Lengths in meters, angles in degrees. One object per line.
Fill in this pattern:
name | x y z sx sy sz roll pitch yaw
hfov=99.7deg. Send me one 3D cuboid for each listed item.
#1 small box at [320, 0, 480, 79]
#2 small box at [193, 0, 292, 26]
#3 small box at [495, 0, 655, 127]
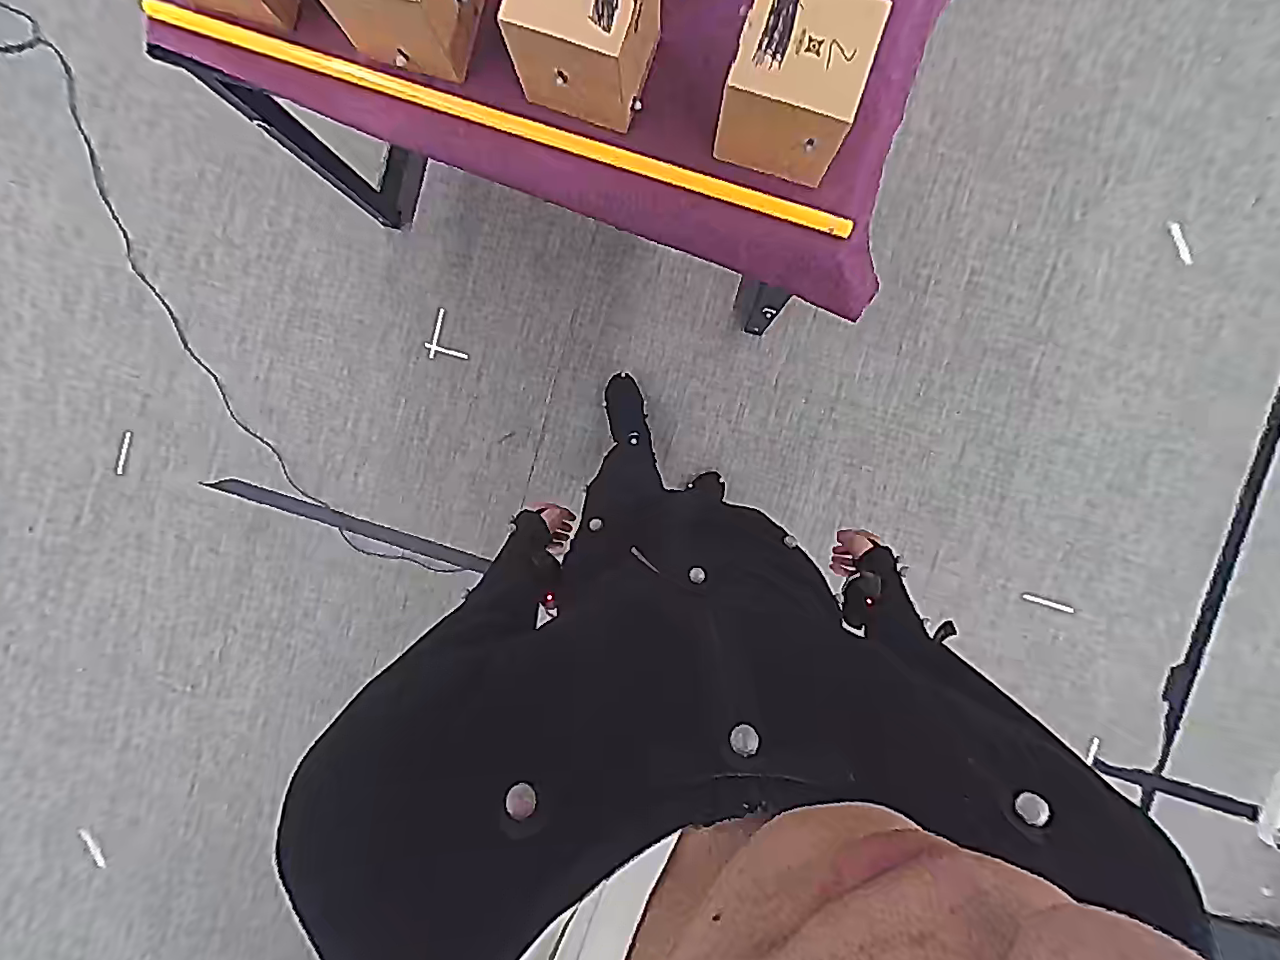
small box | -0.356 -0.745 0.801 0.179 0.176 0.168 16 94 1
small box | -0.637 -0.835 0.806 0.179 0.176 0.168 17 93 -1
small box | -0.083 -0.663 0.793 0.179 0.176 0.168 20 92 2
